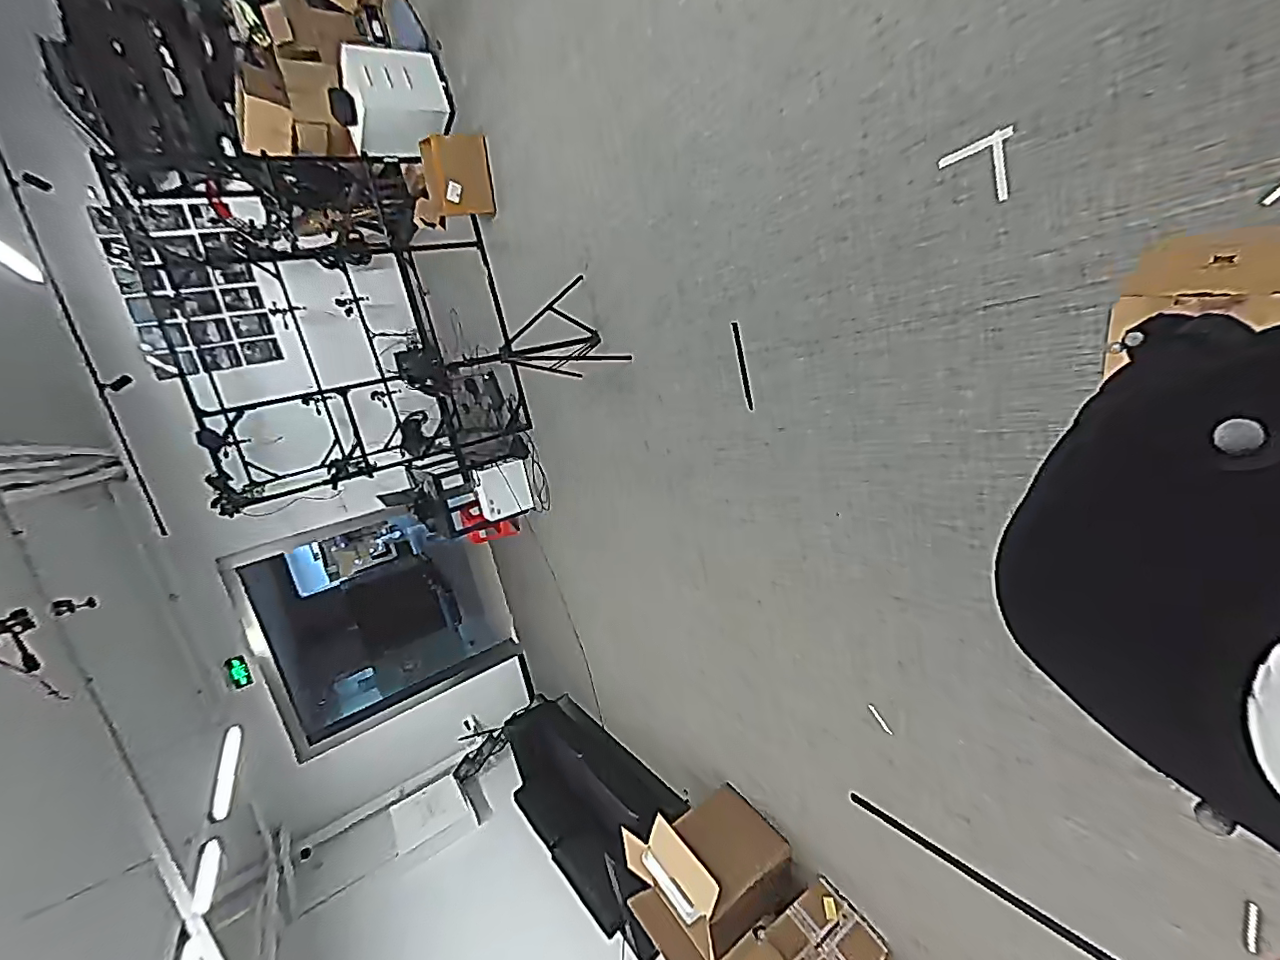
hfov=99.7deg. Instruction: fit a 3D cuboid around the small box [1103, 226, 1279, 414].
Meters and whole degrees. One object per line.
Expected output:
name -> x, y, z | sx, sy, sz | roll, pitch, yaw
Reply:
small box -> 0.737, -0.207, 0.705 | 0.168, 0.179, 0.176 | 21, 145, 48
